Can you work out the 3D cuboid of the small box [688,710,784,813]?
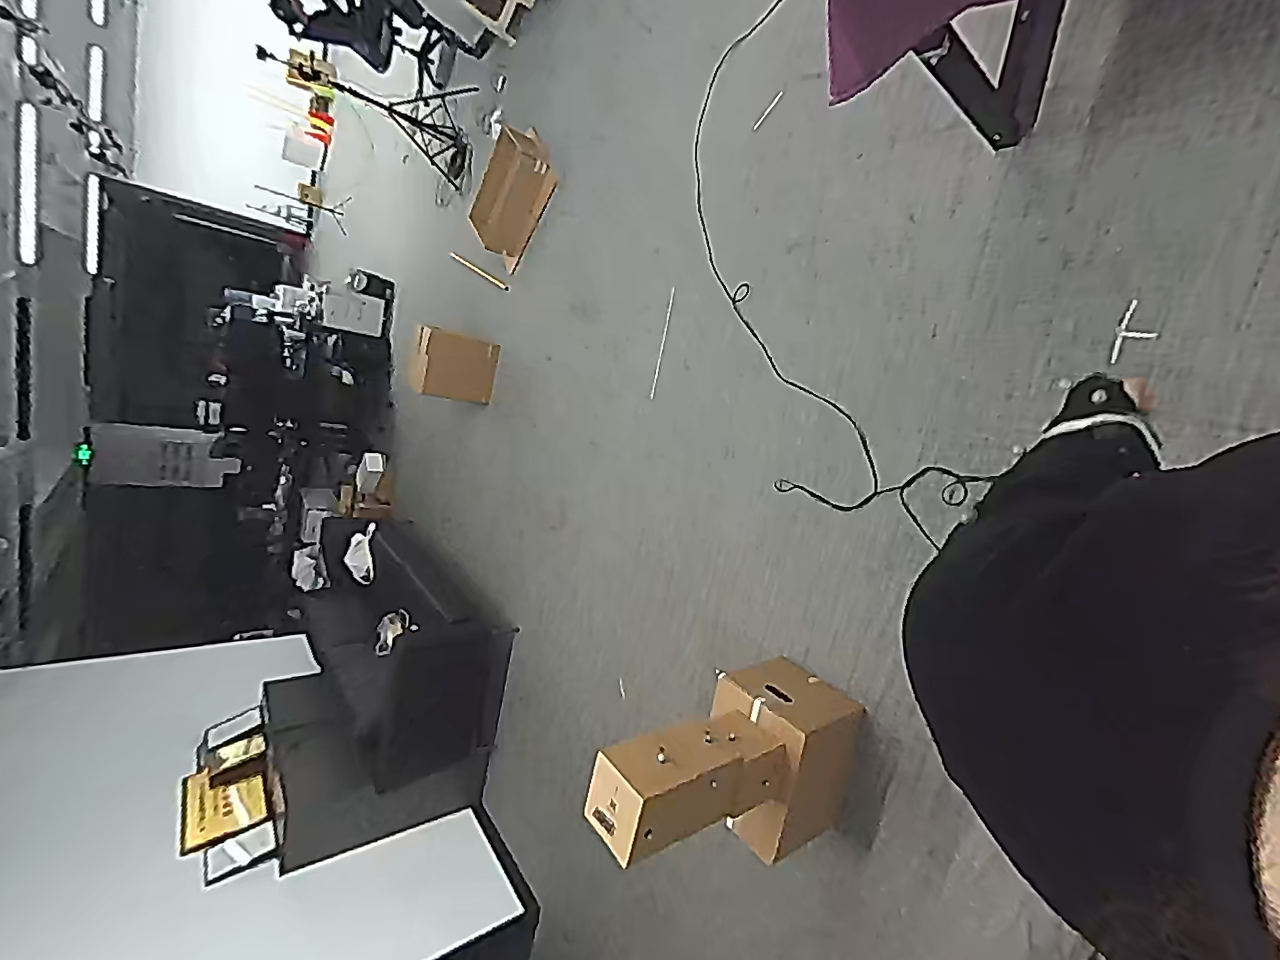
[{"bbox_3d":[0.256,0.746,1.459,0.179,0.176,0.168,19,102,47],"label":"small box"}]

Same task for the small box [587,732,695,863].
[{"bbox_3d":[0.005,0.720,1.247,0.168,0.176,0.179,24,104,47],"label":"small box"}]
